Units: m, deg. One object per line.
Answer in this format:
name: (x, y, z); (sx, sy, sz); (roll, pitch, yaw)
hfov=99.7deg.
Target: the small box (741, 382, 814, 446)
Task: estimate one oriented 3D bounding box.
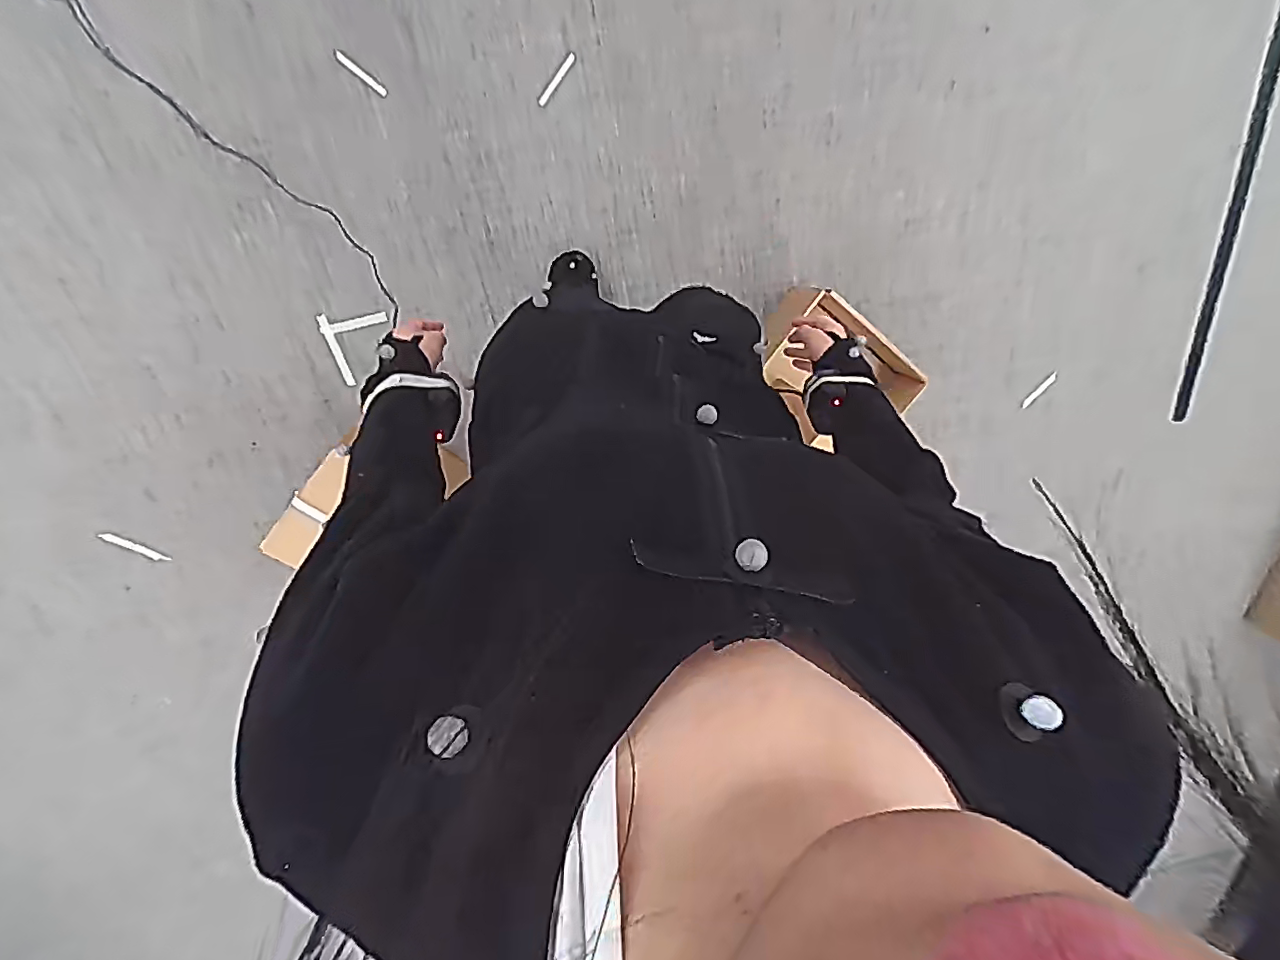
small box: (0.402, -0.138, 1.435); (0.179, 0.176, 0.168); (35, 103, -21)
